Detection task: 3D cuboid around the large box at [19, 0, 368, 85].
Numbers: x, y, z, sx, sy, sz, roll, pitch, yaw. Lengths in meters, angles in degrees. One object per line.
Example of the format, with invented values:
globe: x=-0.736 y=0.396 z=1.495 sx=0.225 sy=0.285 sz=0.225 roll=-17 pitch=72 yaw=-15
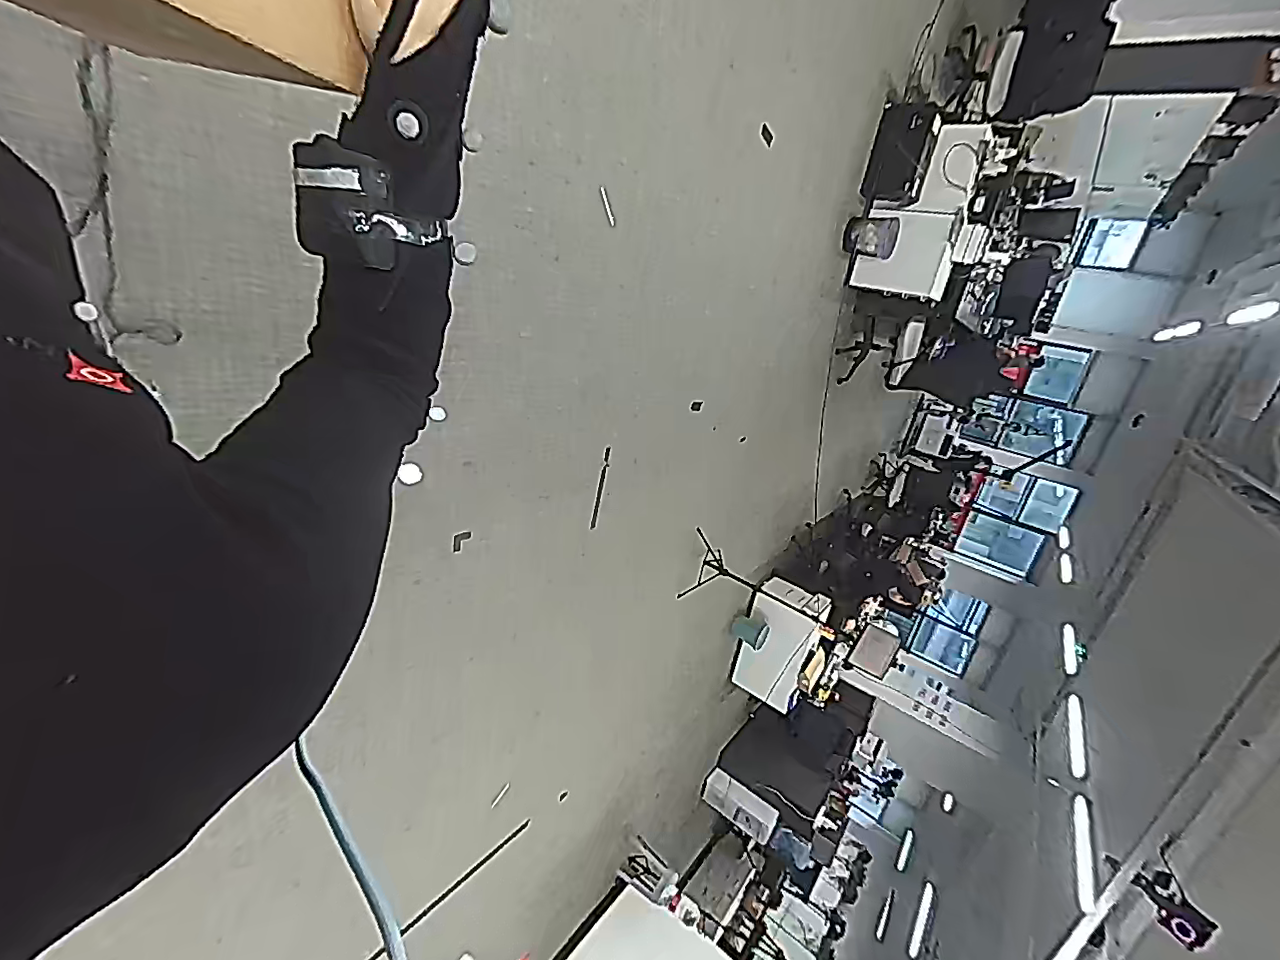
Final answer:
large box: x=-0.341 y=-0.392 z=0.157 sx=0.408 sy=0.320 sz=0.320 roll=-15 pitch=129 yaw=-58
